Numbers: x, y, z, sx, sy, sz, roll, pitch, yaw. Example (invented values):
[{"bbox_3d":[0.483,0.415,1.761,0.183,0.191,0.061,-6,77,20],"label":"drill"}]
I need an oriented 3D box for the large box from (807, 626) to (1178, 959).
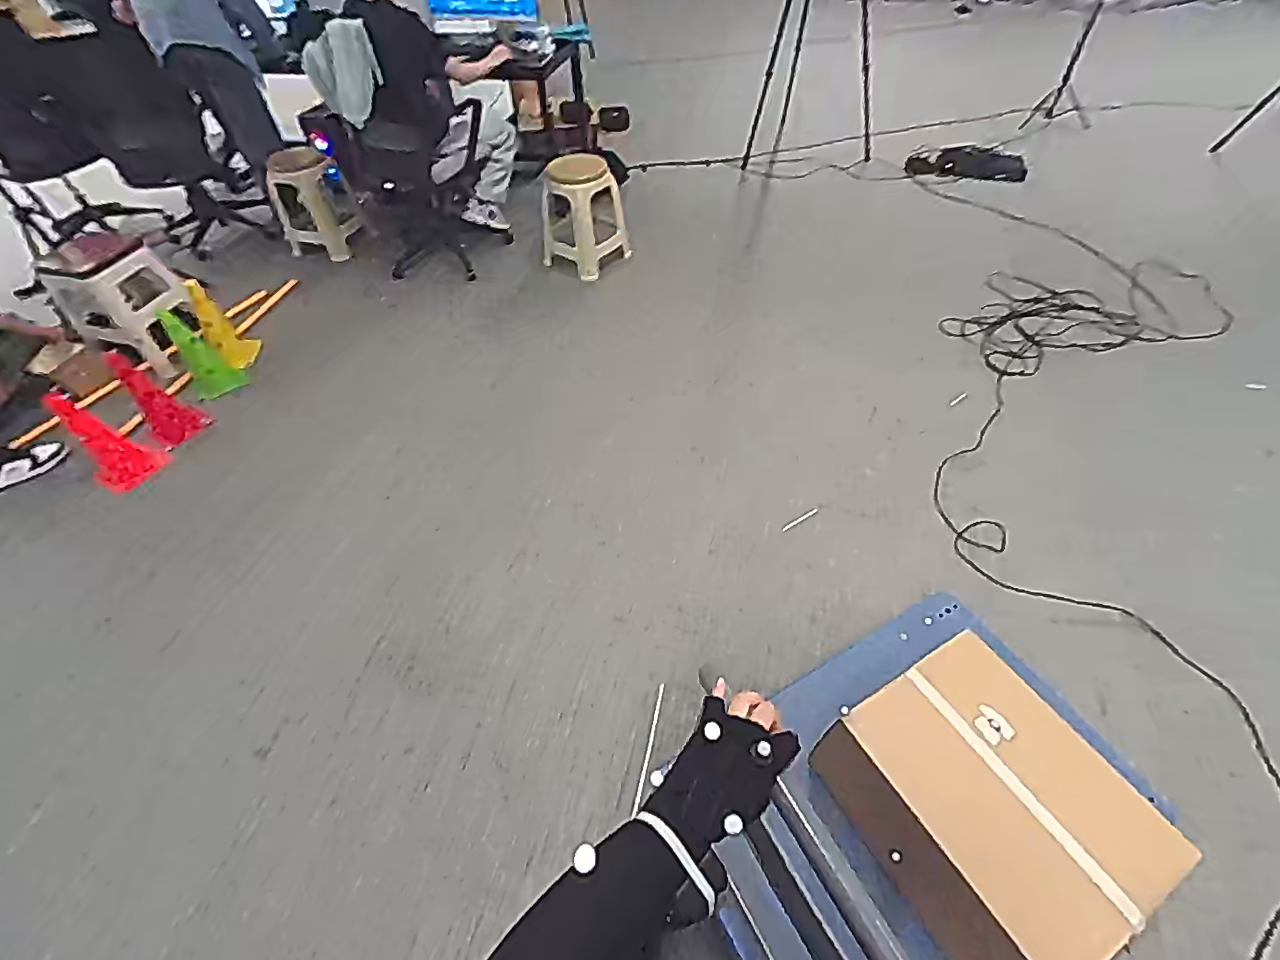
[{"bbox_3d":[0.570,0.556,0.973,0.320,0.320,0.408,-25,53,-16],"label":"large box"}]
